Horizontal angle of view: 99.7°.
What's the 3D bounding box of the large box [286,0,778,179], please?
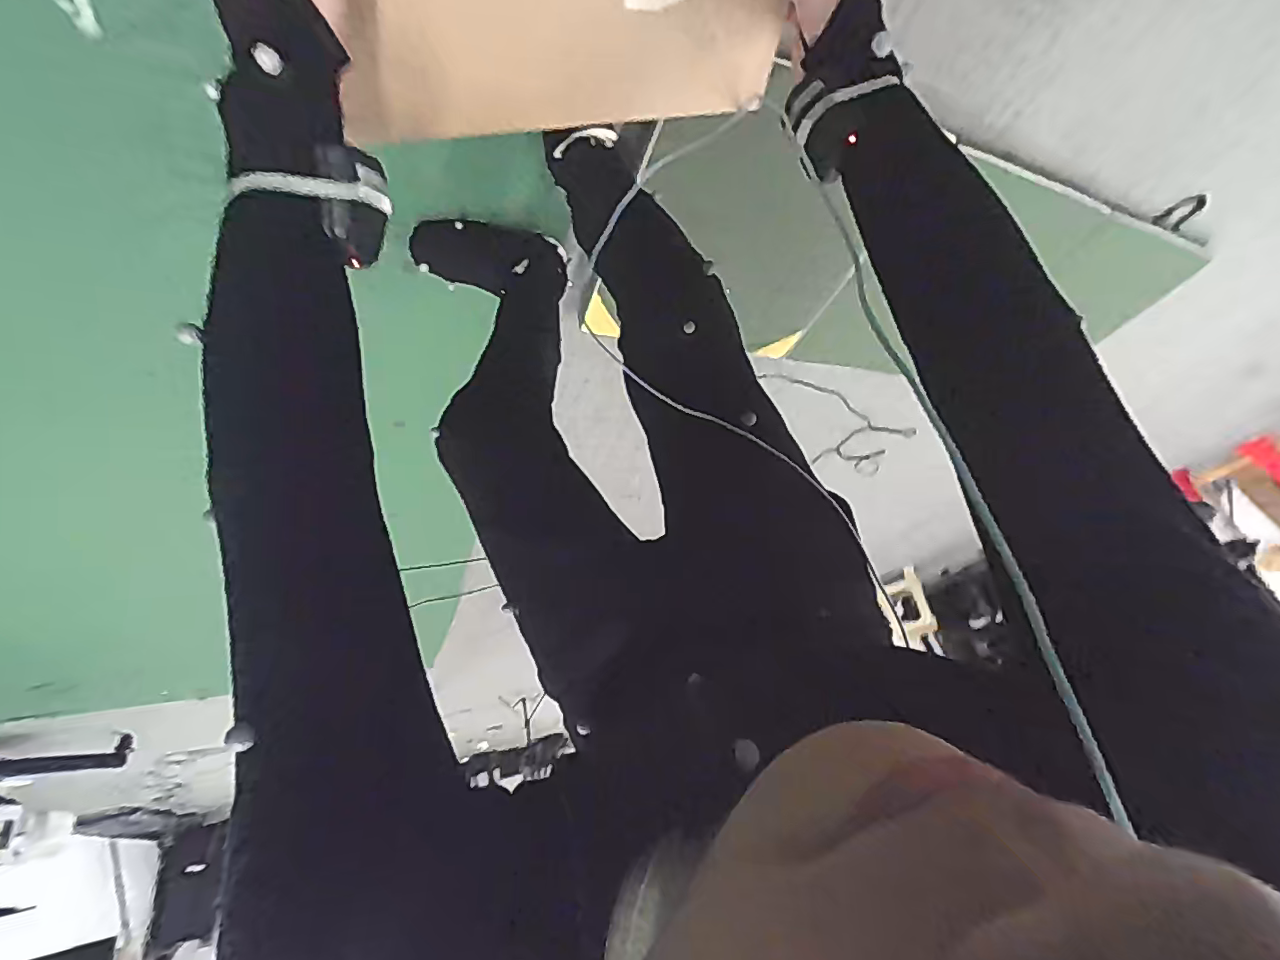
[{"bbox_3d":[-0.115,-0.514,0.454,0.408,0.320,0.320,-19,152,-18],"label":"large box"}]
